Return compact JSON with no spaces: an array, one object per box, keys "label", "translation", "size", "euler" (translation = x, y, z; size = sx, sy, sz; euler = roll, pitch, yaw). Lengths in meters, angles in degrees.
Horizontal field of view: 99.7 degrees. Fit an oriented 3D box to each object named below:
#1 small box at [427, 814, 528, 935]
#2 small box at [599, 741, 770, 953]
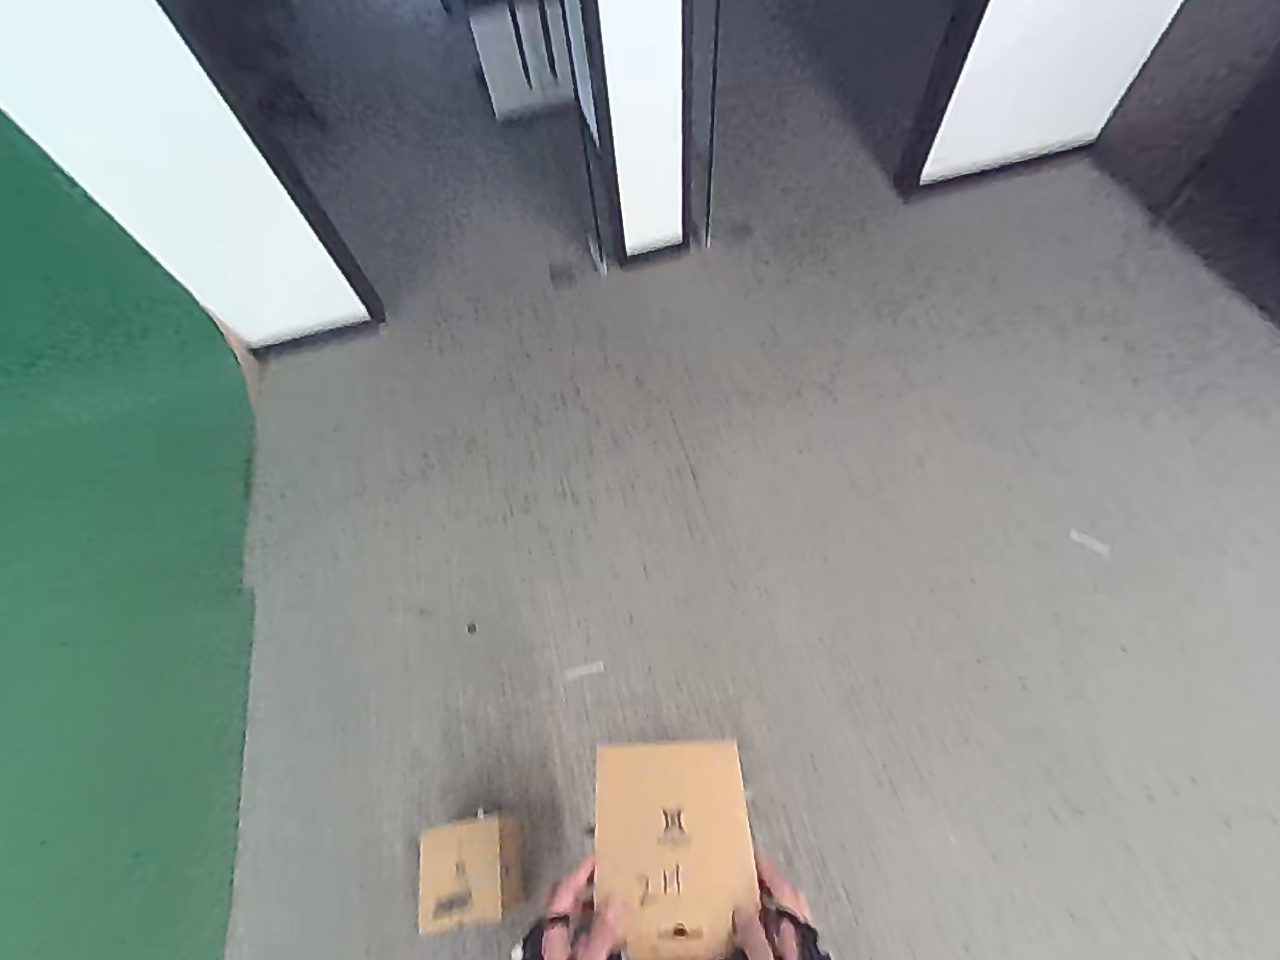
[{"label":"small box","translation":[-0.343,0.837,1.164],"size":[0.168,0.176,0.179],"euler":[-10,60,-2]},{"label":"small box","translation":[0.038,0.422,0.623],"size":[0.168,0.176,0.179],"euler":[-1,47,-2]}]
